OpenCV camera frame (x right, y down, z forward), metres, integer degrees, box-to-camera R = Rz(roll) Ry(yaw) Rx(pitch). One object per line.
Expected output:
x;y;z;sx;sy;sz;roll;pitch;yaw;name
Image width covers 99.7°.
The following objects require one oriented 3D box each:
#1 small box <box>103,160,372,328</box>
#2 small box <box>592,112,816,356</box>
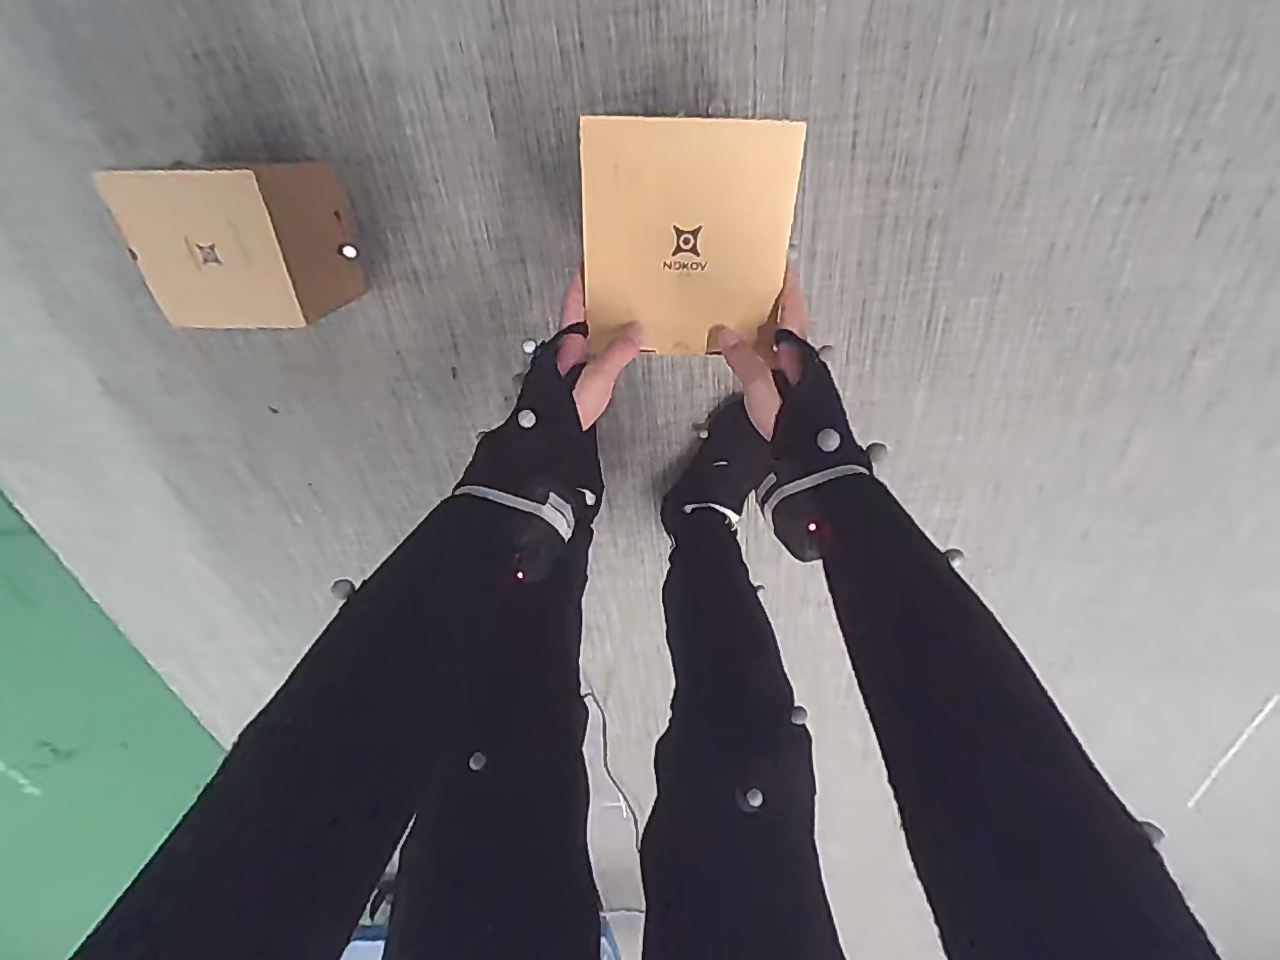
-0.468;-0.293;0.665;0.179;0.176;0.168;1;123;1;small box
0.044;-0.226;0.496;0.168;0.176;0.179;1;123;1;small box
